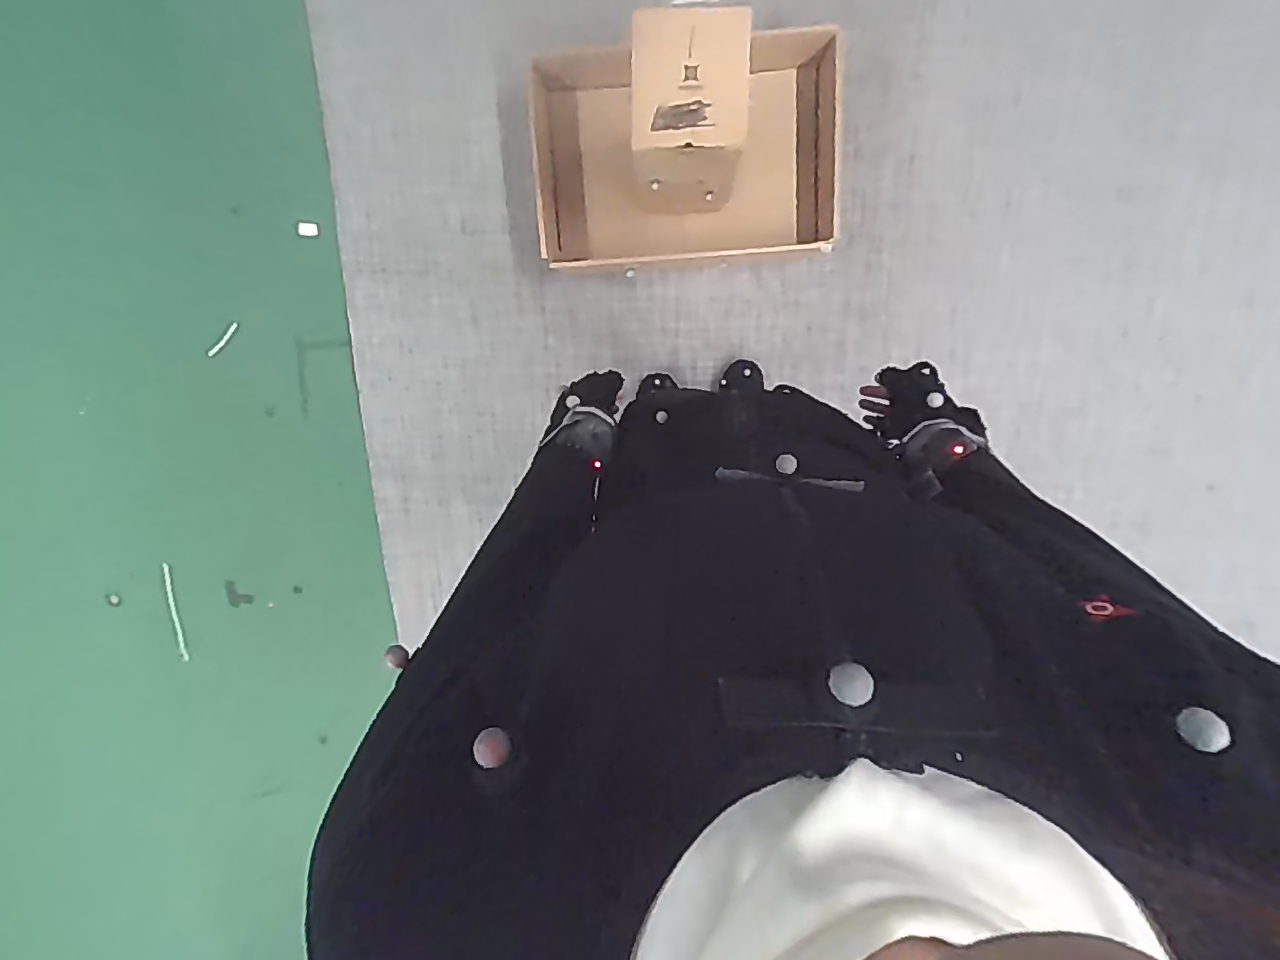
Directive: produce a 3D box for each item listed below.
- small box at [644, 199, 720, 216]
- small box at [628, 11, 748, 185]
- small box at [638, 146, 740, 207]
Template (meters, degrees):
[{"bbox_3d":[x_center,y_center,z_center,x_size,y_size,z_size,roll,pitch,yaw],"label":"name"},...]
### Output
[{"bbox_3d":[0.087,-0.678,1.153,0.179,0.176,0.168,-4,102,4],"label":"small box"},{"bbox_3d":[0.070,-0.576,0.840,0.168,0.176,0.179,1,101,2],"label":"small box"},{"bbox_3d":[0.082,-0.611,0.983,0.179,0.176,0.168,-3,103,3],"label":"small box"}]
